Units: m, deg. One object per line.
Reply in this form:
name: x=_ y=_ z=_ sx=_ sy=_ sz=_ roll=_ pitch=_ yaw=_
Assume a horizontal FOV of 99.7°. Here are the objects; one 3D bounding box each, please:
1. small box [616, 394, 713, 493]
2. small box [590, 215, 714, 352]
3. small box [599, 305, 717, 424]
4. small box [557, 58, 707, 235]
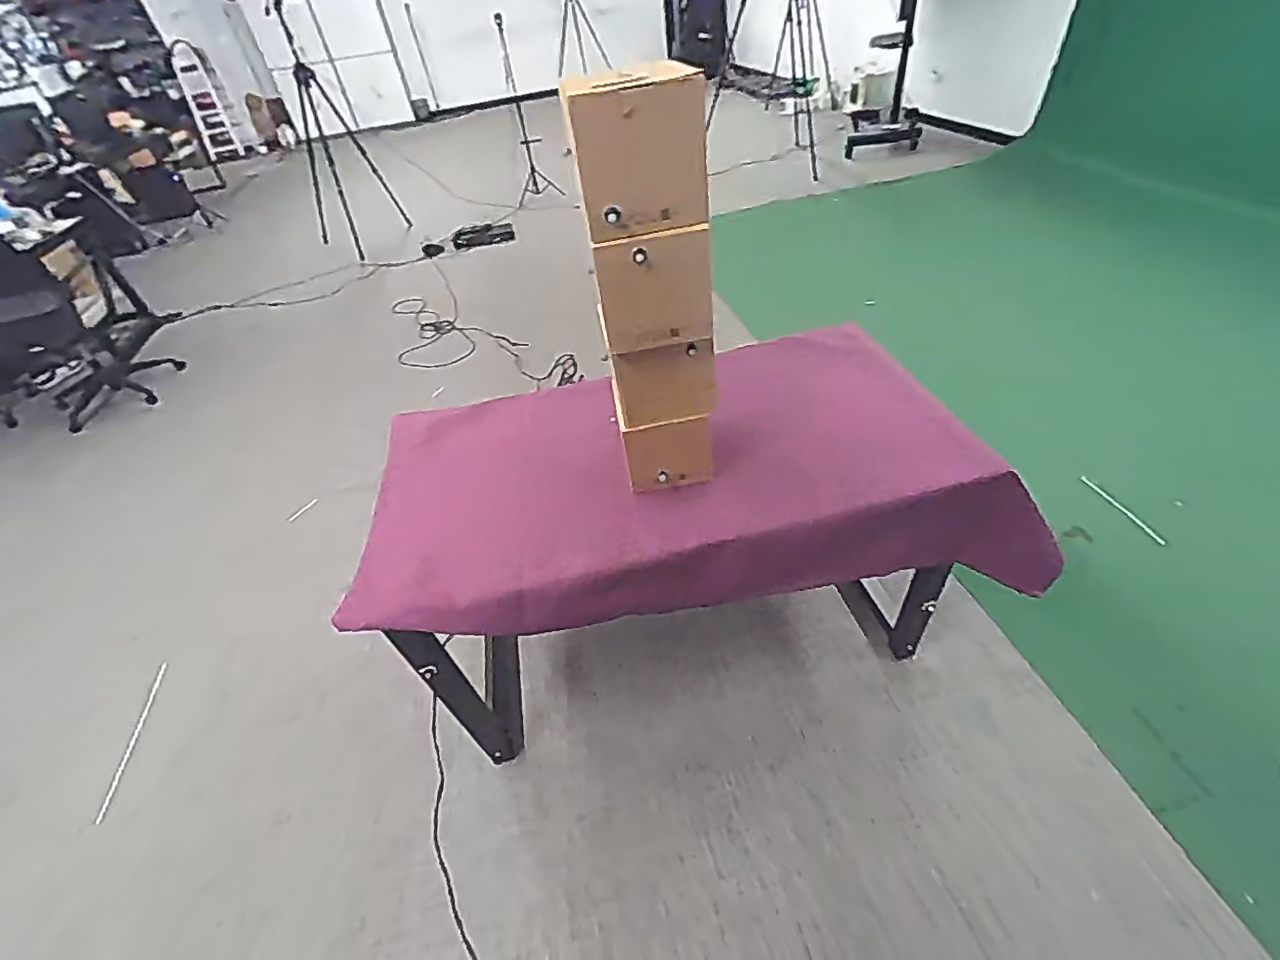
small box: x=0.047 y=-0.101 z=1.076 sx=0.168 sy=0.176 sz=0.179 roll=-11 pitch=44 yaw=0
small box: x=0.017 y=-0.321 z=0.838 sx=0.168 sy=0.176 sz=0.179 roll=-10 pitch=42 yaw=1
small box: x=0.033 y=-0.219 z=0.967 sx=0.179 sy=0.176 sz=0.168 roll=-12 pitch=43 yaw=-2
small box: x=-0.010 y=-0.448 z=0.735 sx=0.168 sy=0.176 sz=0.179 roll=-12 pitch=42 yaw=-3
